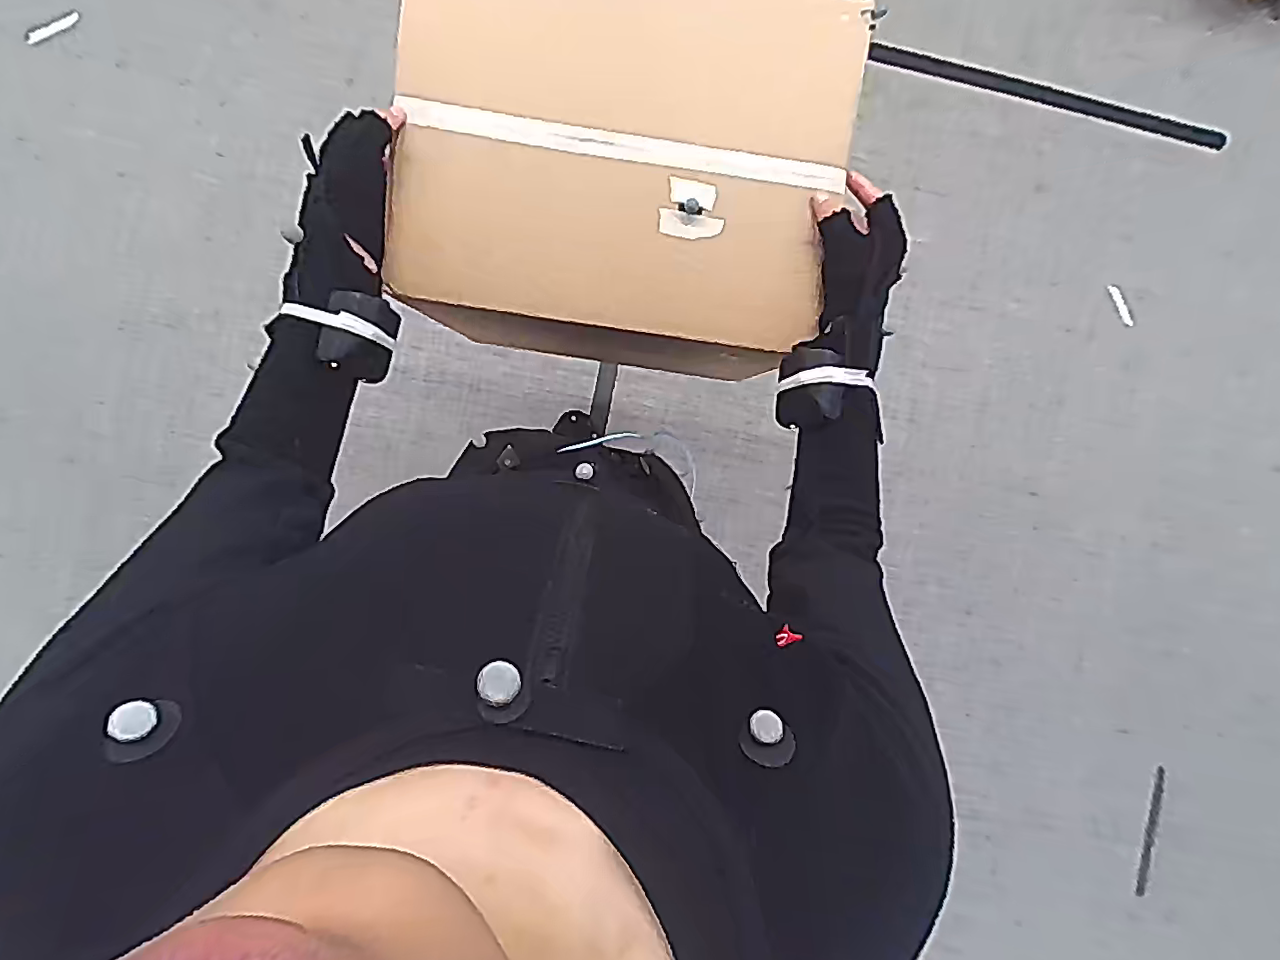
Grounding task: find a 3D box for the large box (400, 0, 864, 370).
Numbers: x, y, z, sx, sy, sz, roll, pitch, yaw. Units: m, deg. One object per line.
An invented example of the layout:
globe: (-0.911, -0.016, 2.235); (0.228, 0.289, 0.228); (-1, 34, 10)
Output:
large box: (-0.018, -0.322, 0.646); (0.408, 0.320, 0.320); (8, 97, -4)
